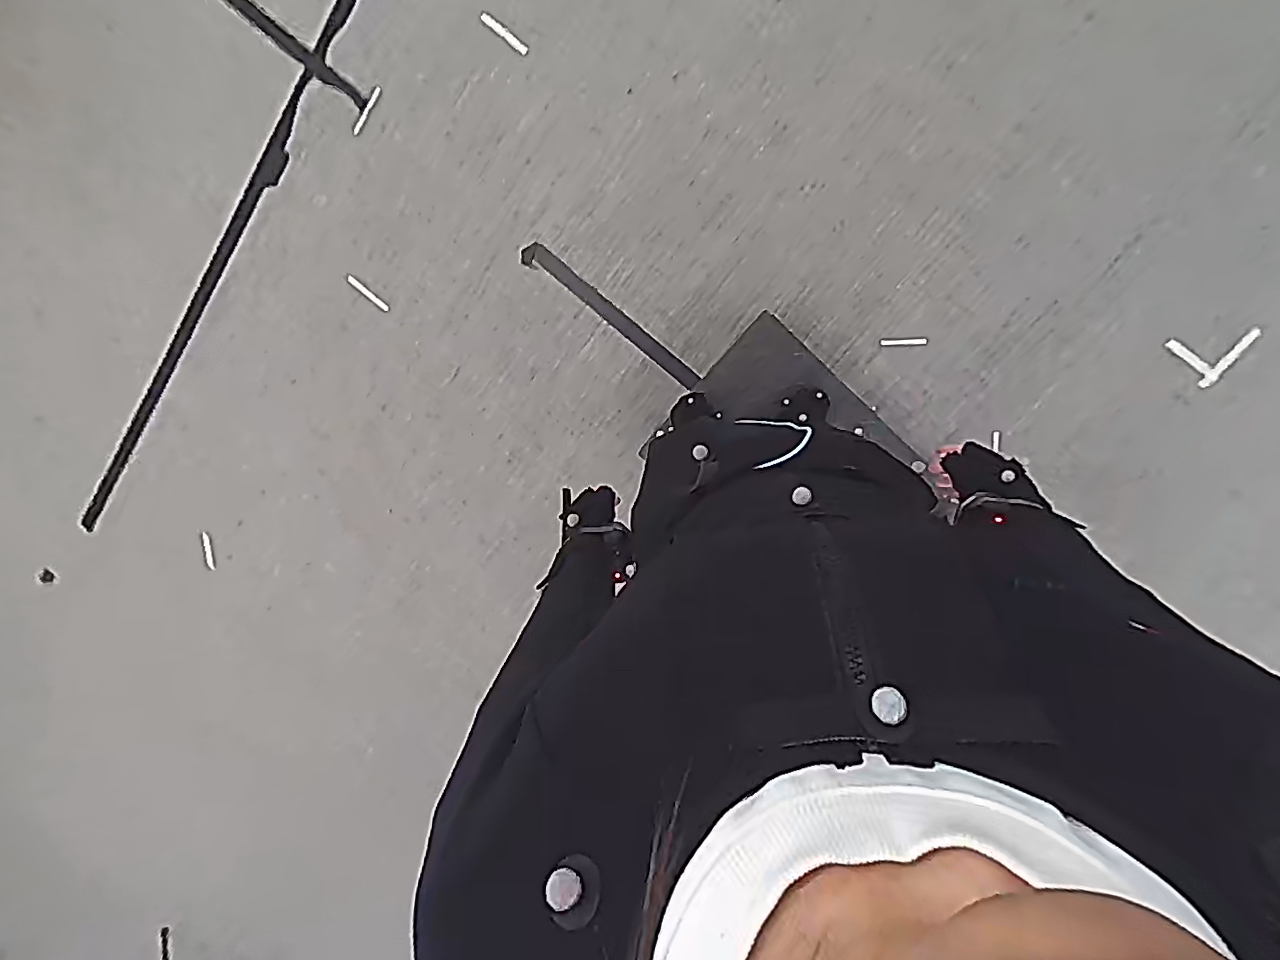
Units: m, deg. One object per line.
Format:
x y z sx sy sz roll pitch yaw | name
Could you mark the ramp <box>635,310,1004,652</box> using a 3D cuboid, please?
0.515 0.050 1.490 0.991 0.206 0.509 39 102 -2 | ramp
